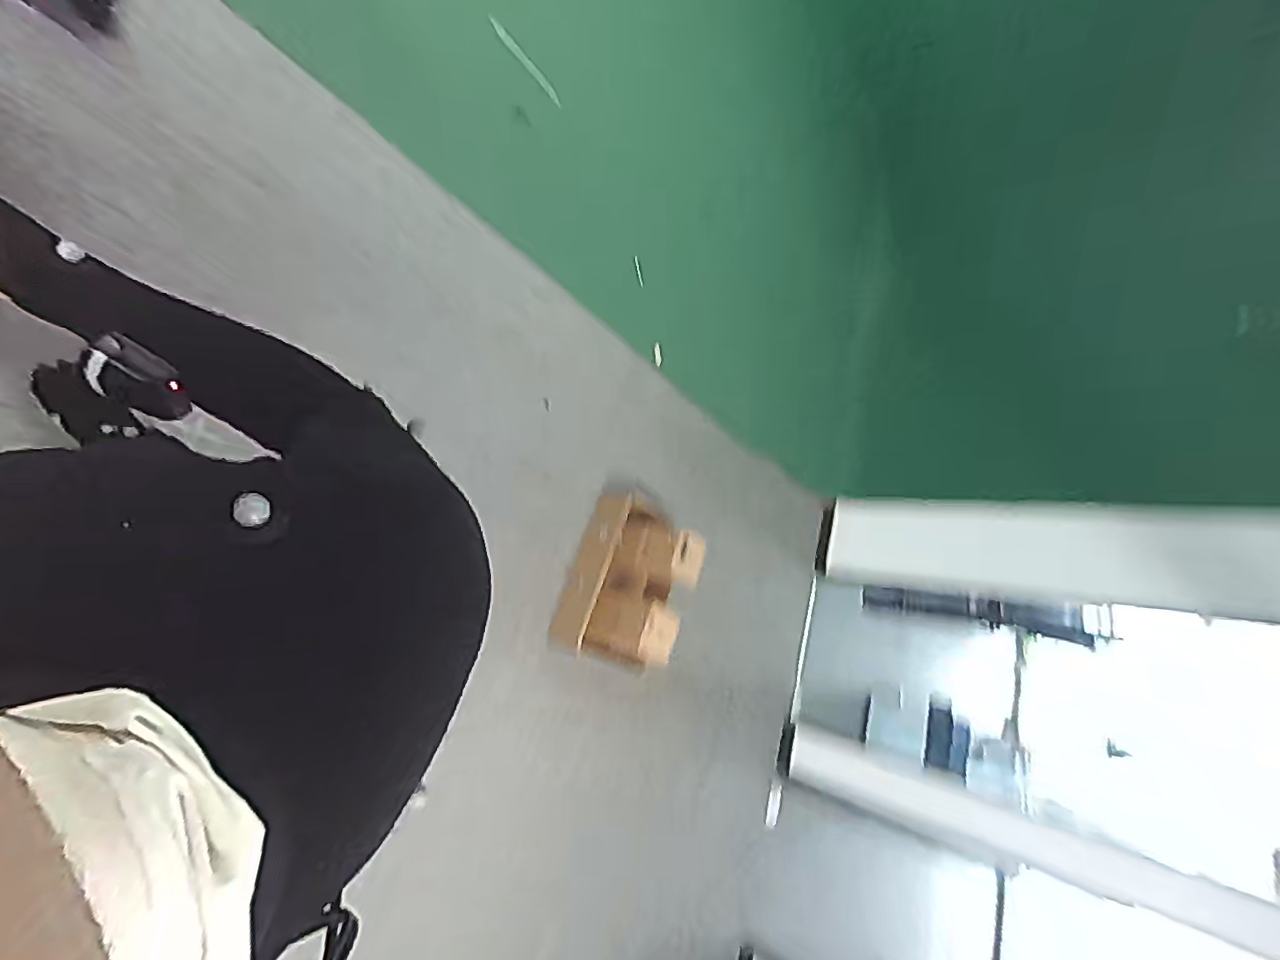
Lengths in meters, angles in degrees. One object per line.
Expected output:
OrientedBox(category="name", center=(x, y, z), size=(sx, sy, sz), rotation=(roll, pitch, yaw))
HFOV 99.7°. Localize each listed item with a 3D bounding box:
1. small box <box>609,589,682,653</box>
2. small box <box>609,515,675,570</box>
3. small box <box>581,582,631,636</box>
OrientedBox(category="small box", center=(0.020, 0.512, 1.980), size=(0.179, 0.176, 0.168), rotation=(39, 64, -39))
OrientedBox(category="small box", center=(0.006, 0.248, 2.193), size=(0.179, 0.176, 0.168), rotation=(37, 65, -41))
OrientedBox(category="small box", center=(-0.093, 0.505, 2.099), size=(0.179, 0.176, 0.168), rotation=(38, 64, -39))
